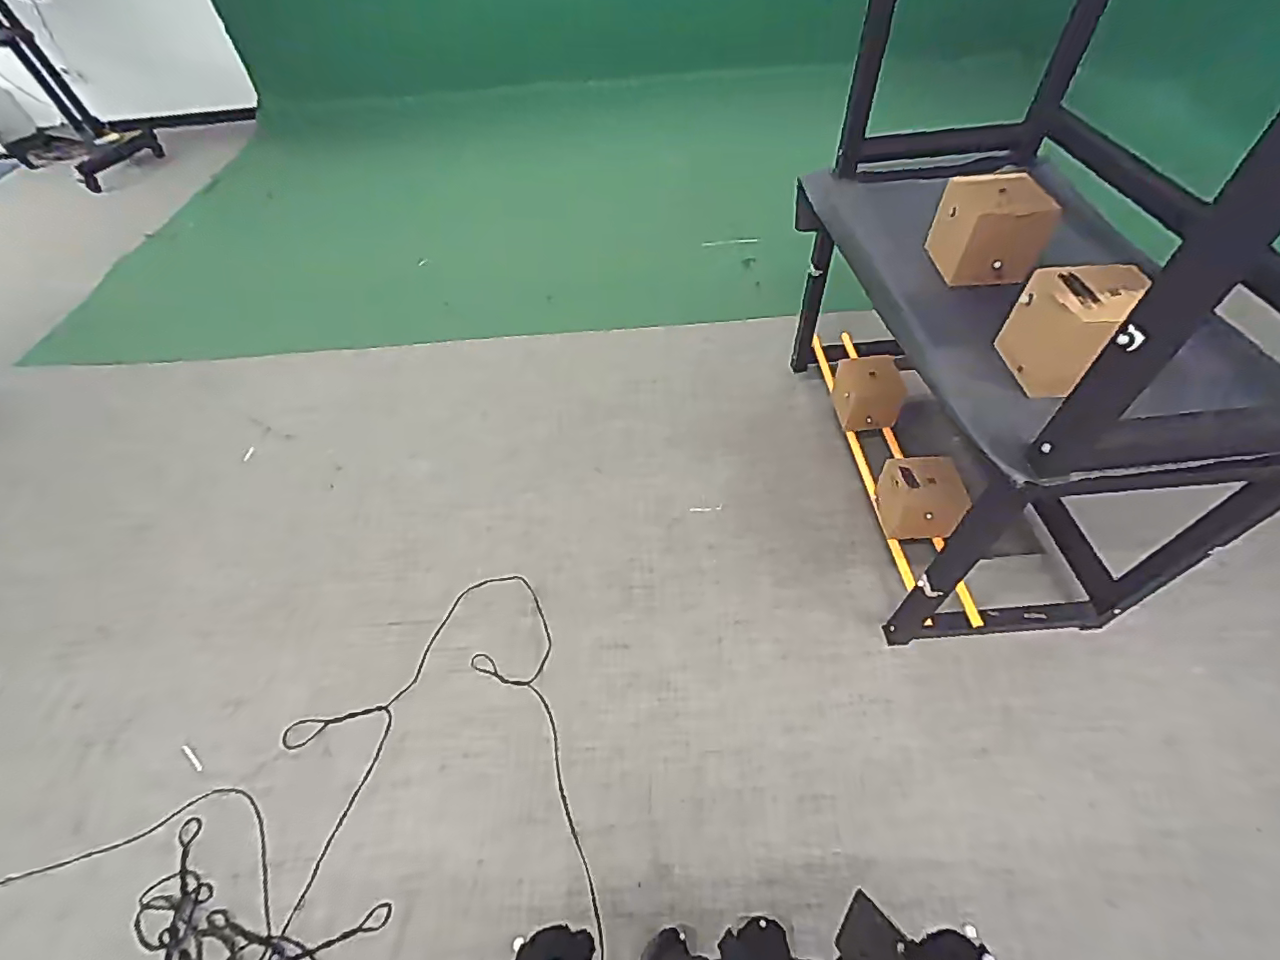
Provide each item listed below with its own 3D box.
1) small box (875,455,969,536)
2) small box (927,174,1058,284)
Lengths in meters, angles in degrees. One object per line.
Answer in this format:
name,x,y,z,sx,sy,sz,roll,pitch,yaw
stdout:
small box,0.786,0.048,1.533,0.179,0.176,0.168,-2,52,3
small box,0.779,-0.565,1.222,0.168,0.176,0.179,-2,52,3
